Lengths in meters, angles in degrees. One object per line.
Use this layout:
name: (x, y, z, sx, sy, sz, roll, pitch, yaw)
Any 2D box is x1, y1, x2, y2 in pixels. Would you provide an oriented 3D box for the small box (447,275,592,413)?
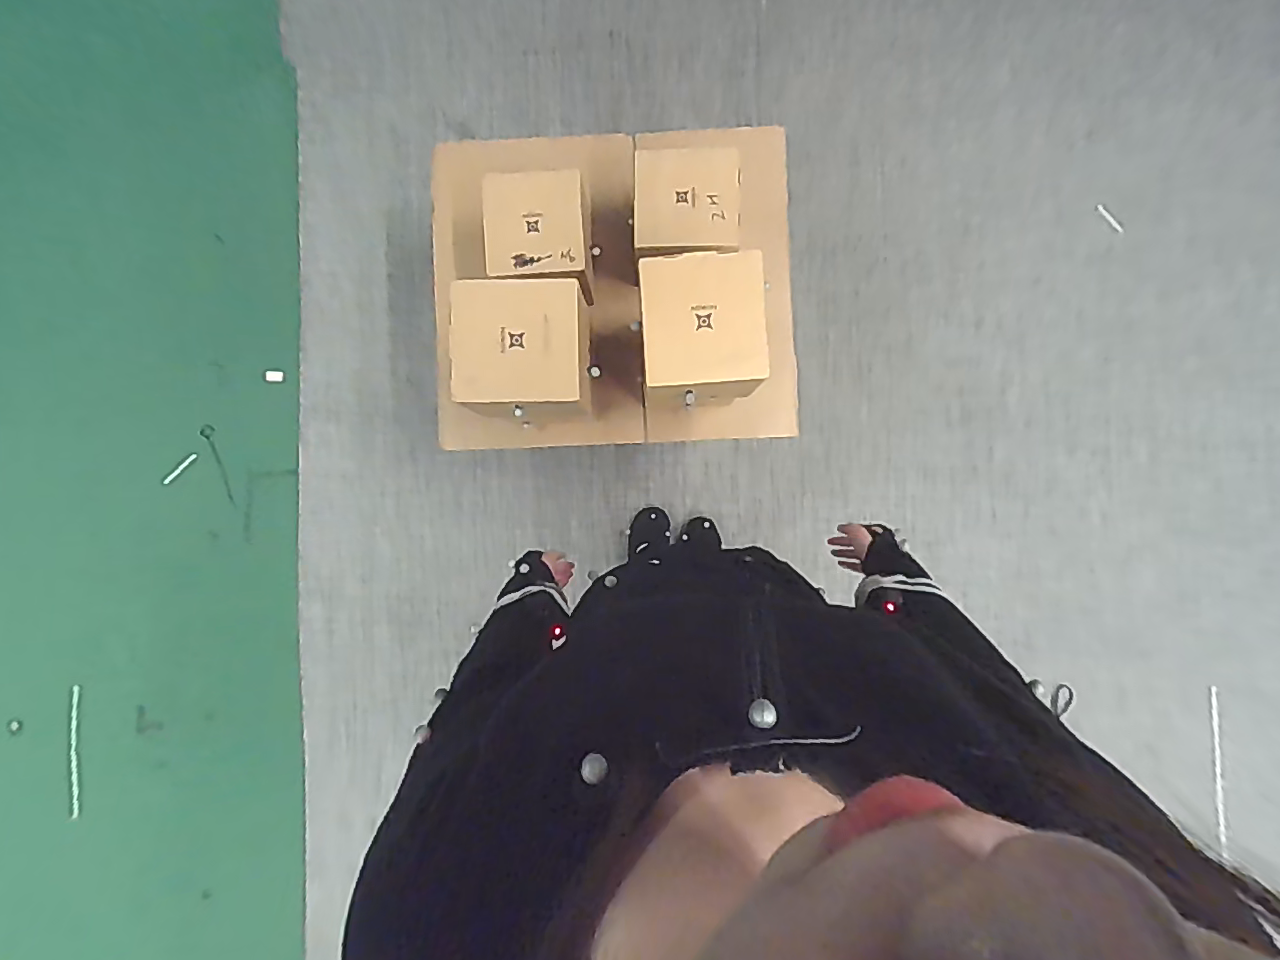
small box: (-0.169, -0.191, 0.799, 0.179, 0.176, 0.168, 0, 91, 1)

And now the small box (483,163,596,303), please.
small box: (-0.173, -0.428, 0.965, 0.168, 0.176, 0.179, -3, 88, 3)

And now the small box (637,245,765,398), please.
small box: (0.085, -0.218, 0.793, 0.168, 0.176, 0.179, -4, 89, 3)
